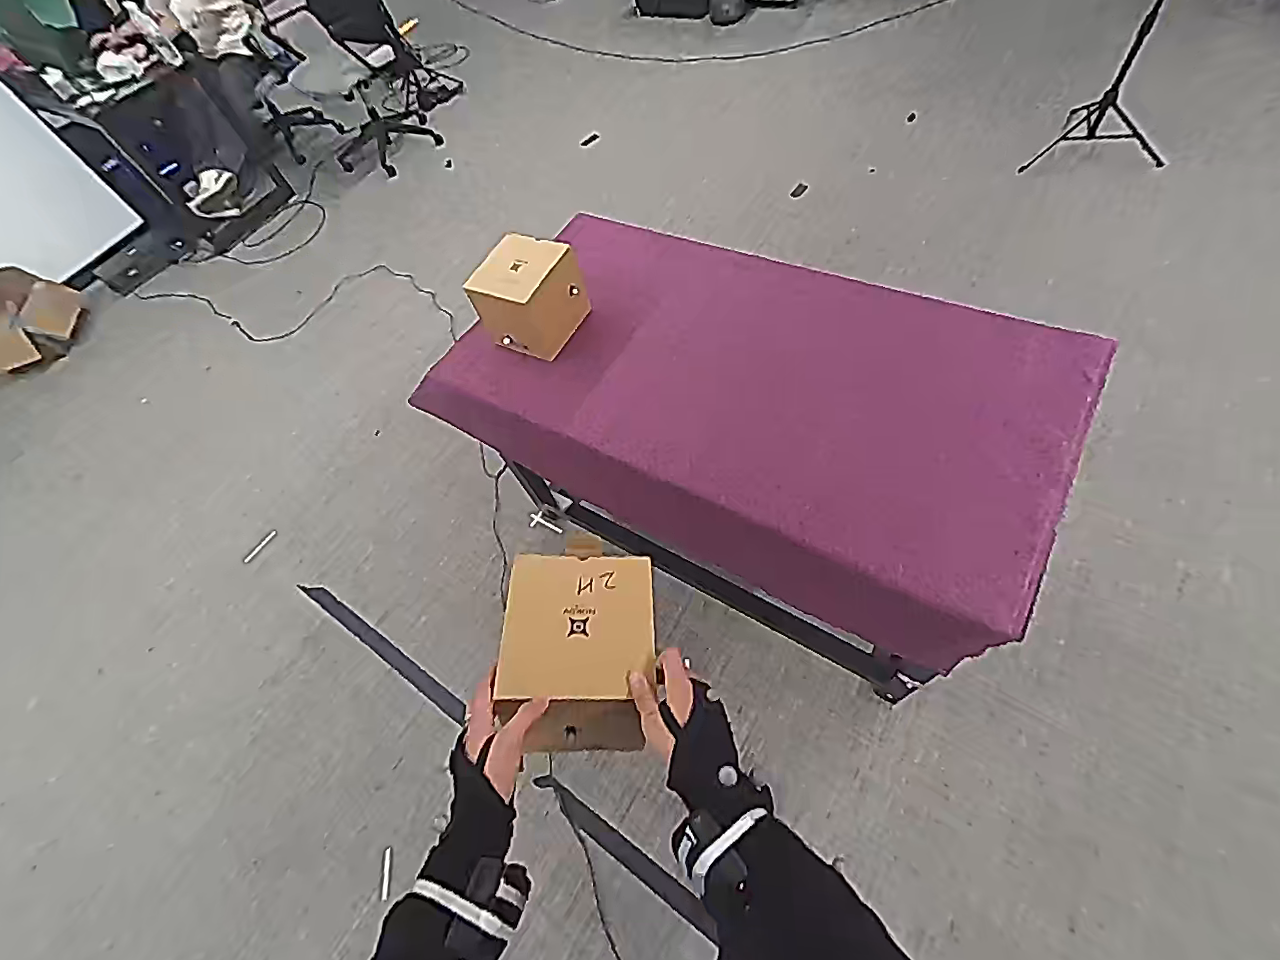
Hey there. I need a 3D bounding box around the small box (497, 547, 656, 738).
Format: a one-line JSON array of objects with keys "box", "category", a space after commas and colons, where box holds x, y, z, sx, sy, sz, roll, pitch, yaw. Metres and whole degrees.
[{"box": [-0.070, 0.202, 0.661, 0.168, 0.176, 0.179, 3, 47, -4], "category": "small box"}]

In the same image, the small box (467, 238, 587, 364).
[{"box": [-0.231, -0.386, 1.170, 0.168, 0.176, 0.179, 22, 66, 22], "category": "small box"}]
